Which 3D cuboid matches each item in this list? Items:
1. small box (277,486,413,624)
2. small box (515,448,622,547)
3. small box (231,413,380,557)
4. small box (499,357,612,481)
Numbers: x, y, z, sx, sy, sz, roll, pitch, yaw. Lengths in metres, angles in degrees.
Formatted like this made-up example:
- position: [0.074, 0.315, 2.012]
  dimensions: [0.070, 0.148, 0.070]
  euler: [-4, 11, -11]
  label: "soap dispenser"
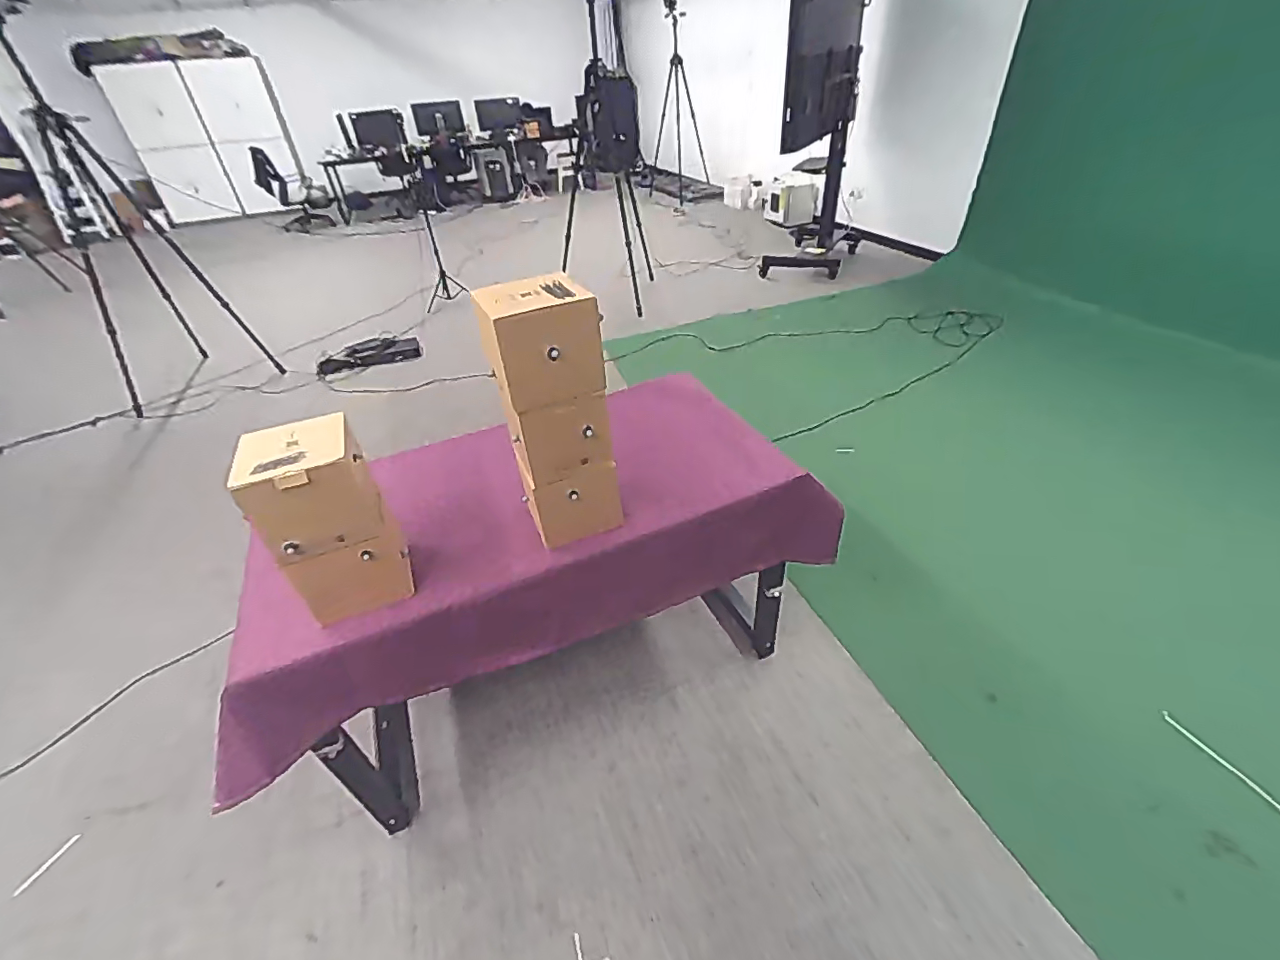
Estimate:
- position: [-0.554, 0.144, 1.031]
  dimensions: [0.179, 0.176, 0.168]
  euler: [-17, 39, -17]
  label: "small box"
- position: [-0.150, 0.017, 1.153]
  dimensions: [0.179, 0.176, 0.168]
  euler: [-17, 40, -15]
  label: "small box"
- position: [-0.562, 0.012, 0.933]
  dimensions: [0.168, 0.176, 0.179]
  euler: [-17, 38, -18]
  label: "small box"
- position: [-0.162, -0.115, 1.058]
  dimensions: [0.168, 0.176, 0.179]
  euler: [-18, 39, -18]
  label: "small box"
